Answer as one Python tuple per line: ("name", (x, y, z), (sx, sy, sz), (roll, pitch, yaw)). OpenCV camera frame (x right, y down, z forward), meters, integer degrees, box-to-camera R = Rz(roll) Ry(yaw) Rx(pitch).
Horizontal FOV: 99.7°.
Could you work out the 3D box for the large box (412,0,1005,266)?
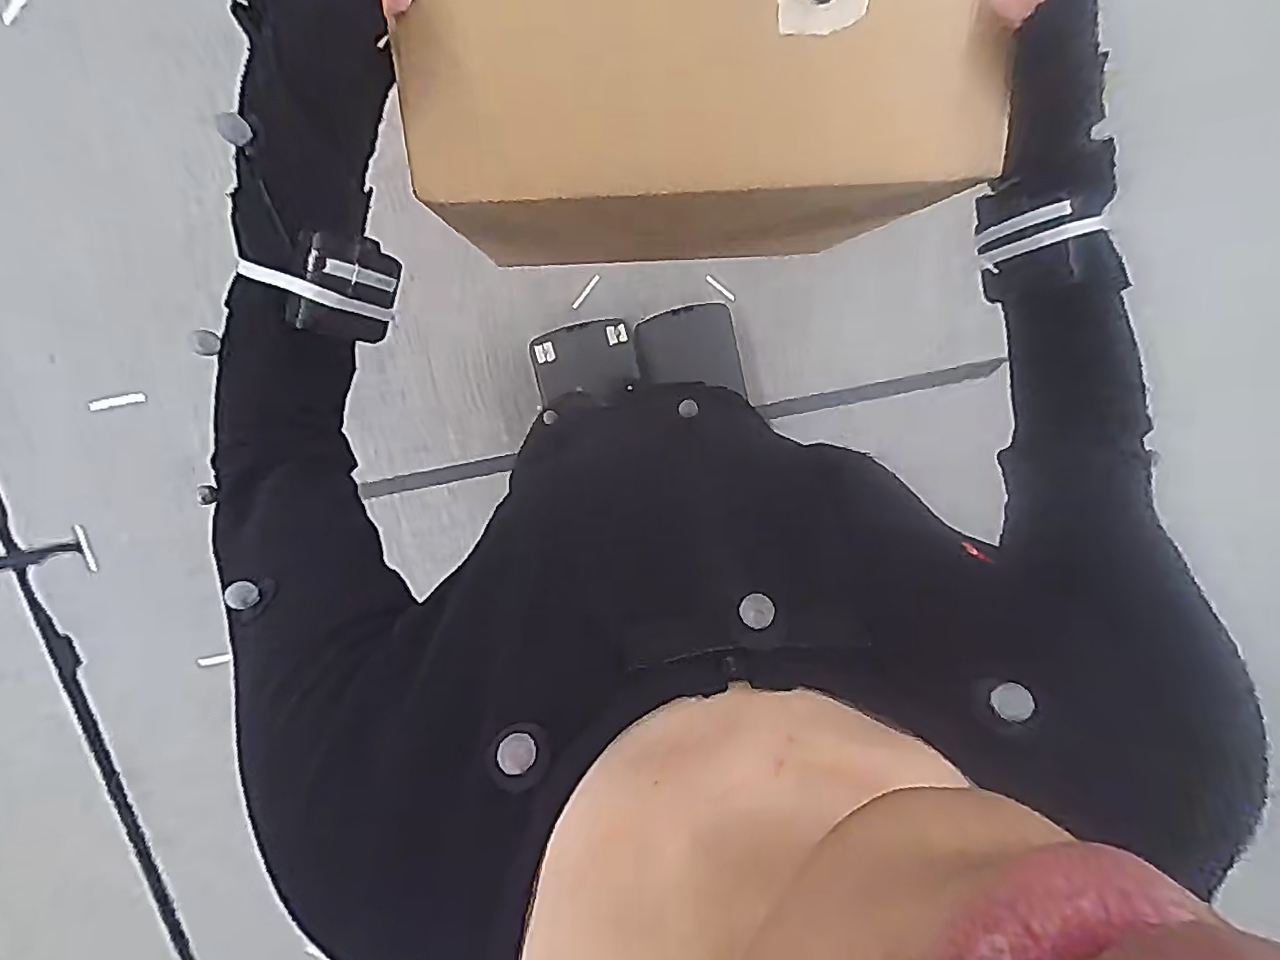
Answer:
("large box", (0.034, -0.391, 0.489), (0.408, 0.320, 0.320), (-5, 104, -4))
